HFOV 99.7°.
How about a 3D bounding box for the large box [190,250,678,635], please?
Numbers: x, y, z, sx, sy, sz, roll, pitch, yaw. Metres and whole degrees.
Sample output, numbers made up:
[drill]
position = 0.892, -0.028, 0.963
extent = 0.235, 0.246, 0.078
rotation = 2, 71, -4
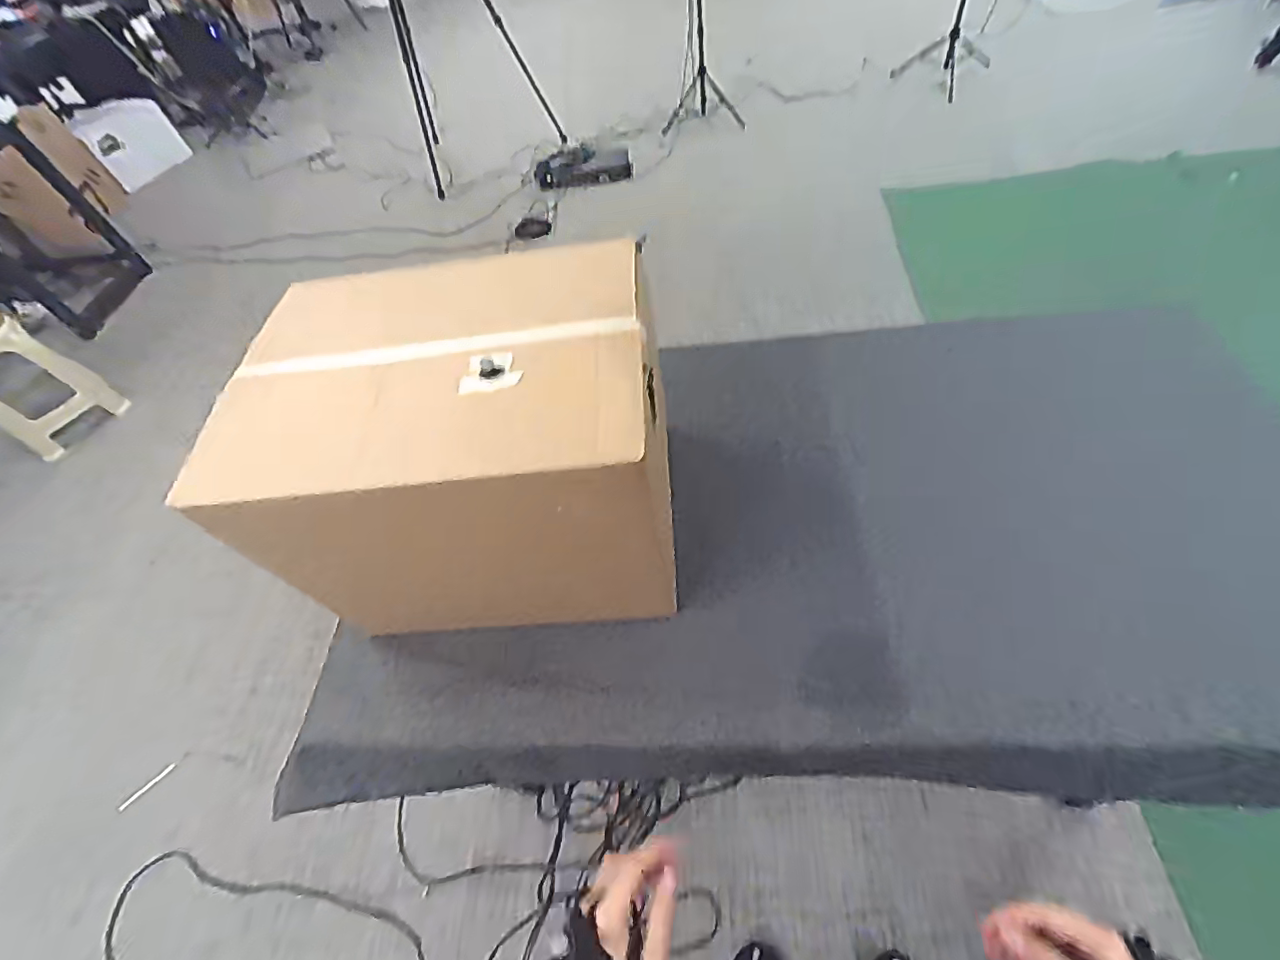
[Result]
[large box]
position = -0.170, -0.029, 0.643
extent = 0.408, 0.320, 0.320
rotation = -5, 54, 4
